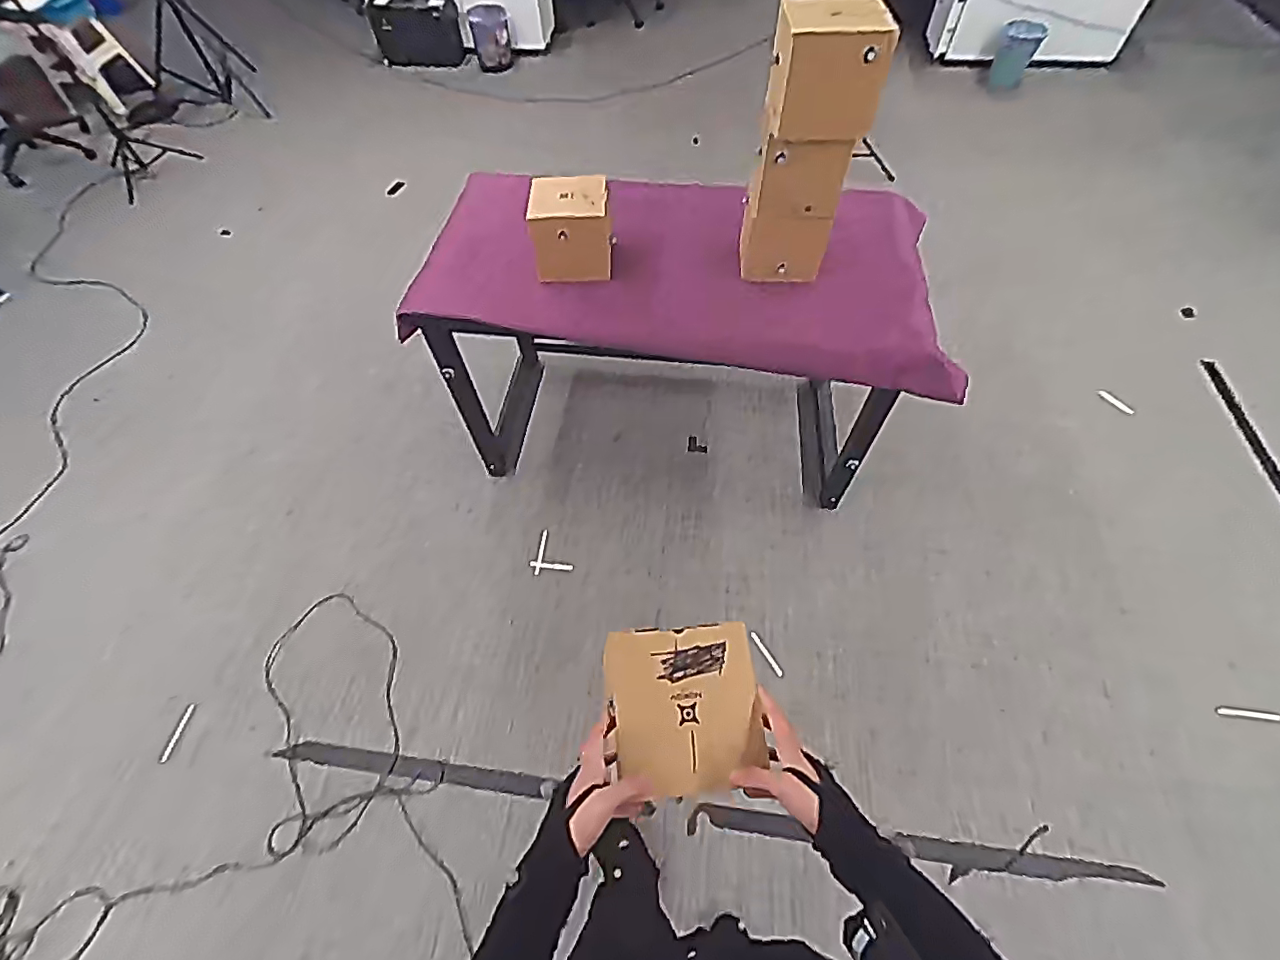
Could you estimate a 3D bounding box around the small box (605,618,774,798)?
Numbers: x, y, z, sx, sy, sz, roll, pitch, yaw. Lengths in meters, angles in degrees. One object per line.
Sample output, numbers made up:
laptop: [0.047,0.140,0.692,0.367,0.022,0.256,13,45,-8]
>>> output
small box: [0.046,0.280,0.668,0.168,0.176,0.179,-3,65,-7]

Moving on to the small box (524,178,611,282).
small box: [-0.164,-0.587,1.280,0.179,0.176,0.168,-1,57,0]

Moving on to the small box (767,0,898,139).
small box: [0.333,-0.744,0.979,0.179,0.176,0.168,0,57,2]

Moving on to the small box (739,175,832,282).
small box: [0.332,-0.584,1.266,0.179,0.176,0.168,3,57,3]
